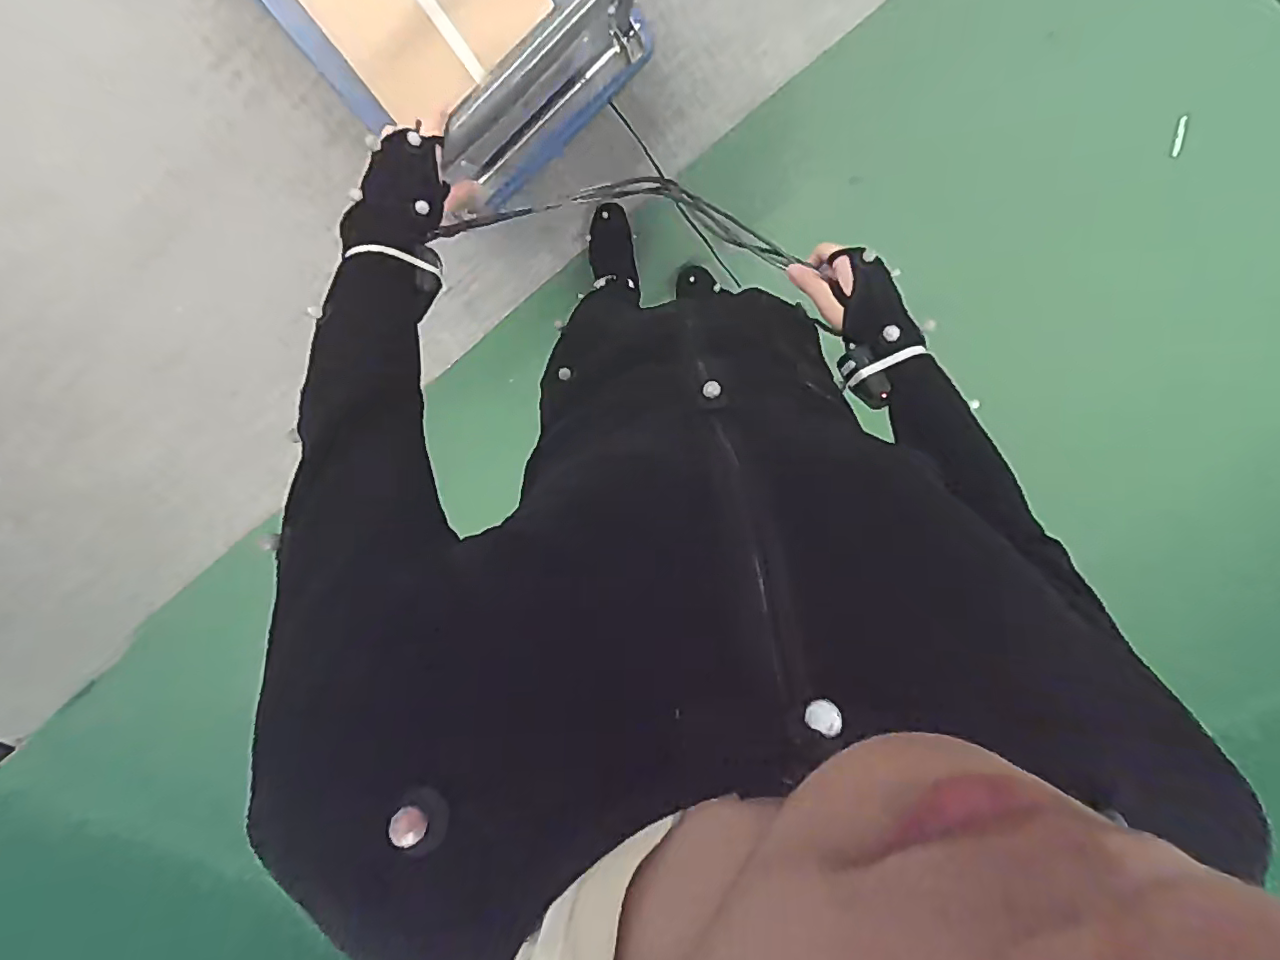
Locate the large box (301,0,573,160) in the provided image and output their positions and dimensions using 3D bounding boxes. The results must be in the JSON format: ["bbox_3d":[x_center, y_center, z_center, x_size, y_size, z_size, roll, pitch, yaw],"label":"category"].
[{"bbox_3d":[-0.371,-0.853,0.942,0.320,0.320,0.408,-34,112,14],"label":"large box"}]
